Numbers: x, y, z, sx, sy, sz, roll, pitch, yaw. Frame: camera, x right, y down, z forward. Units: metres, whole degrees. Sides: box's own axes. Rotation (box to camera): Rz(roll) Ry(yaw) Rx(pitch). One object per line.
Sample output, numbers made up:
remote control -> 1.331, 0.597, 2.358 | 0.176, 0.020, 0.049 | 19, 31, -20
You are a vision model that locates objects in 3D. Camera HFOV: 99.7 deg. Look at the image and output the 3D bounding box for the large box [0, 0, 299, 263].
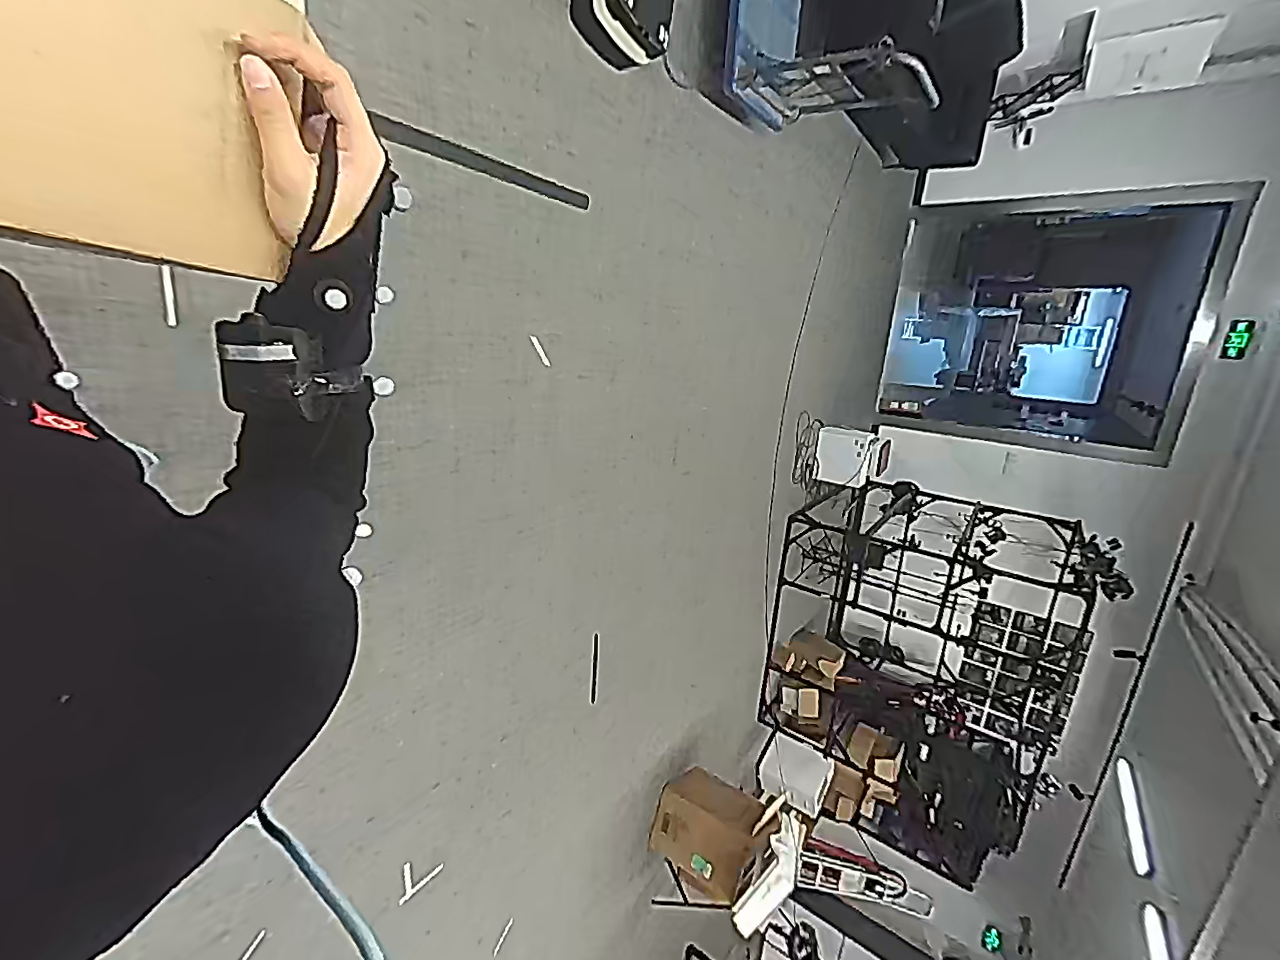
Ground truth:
large box -> -0.423, -0.297, 0.208 | 0.408, 0.320, 0.320 | -11, 115, -60
